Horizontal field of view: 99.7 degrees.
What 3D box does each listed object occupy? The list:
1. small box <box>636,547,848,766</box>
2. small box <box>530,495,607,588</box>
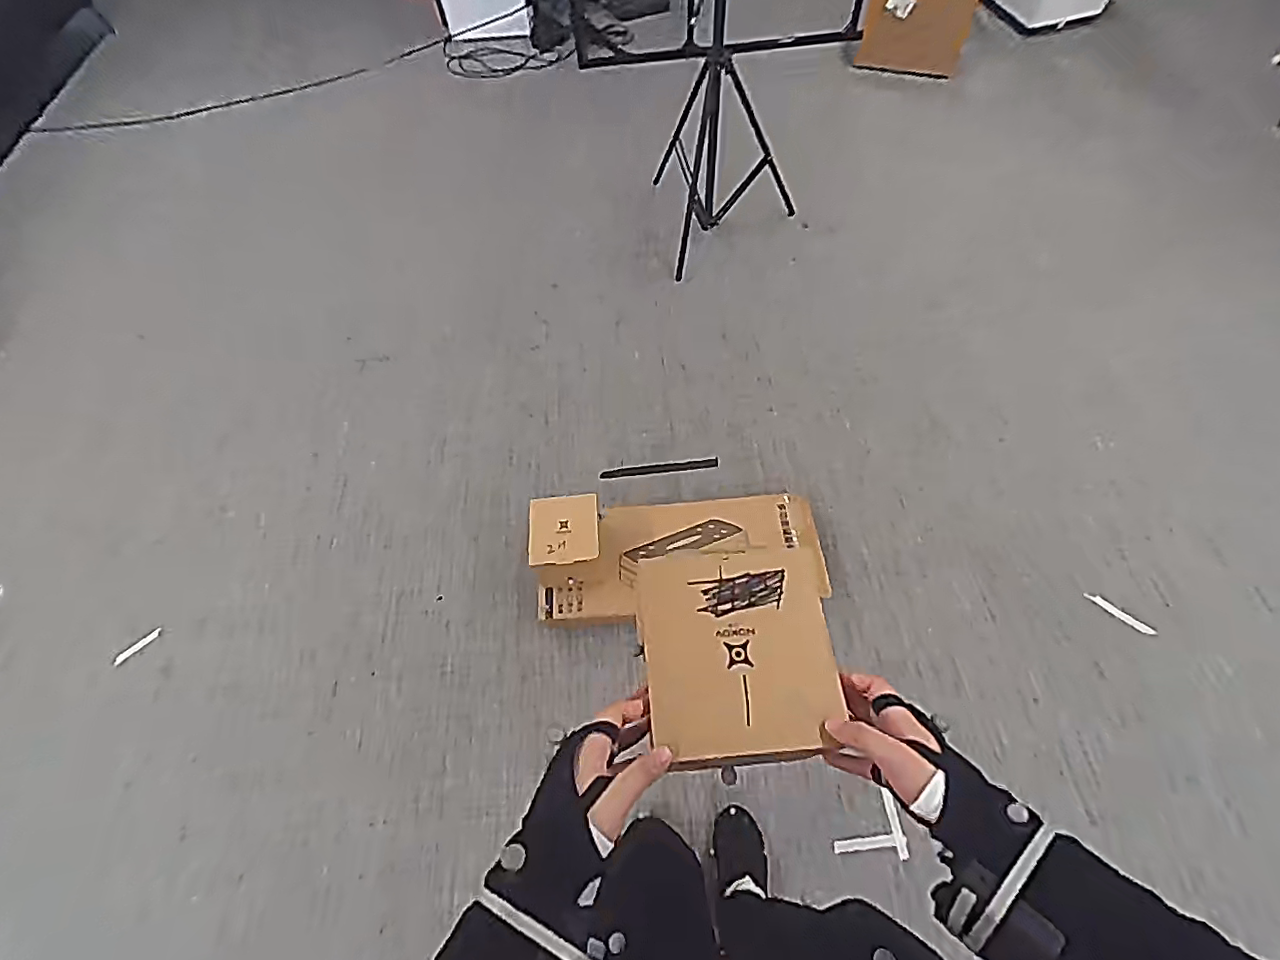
[{"bbox_3d":[0.083,0.184,0.550,0.168,0.176,0.179,-4,60,-2],"label":"small box"},{"bbox_3d":[-0.175,0.156,1.356,0.168,0.176,0.179,-5,61,1],"label":"small box"}]
